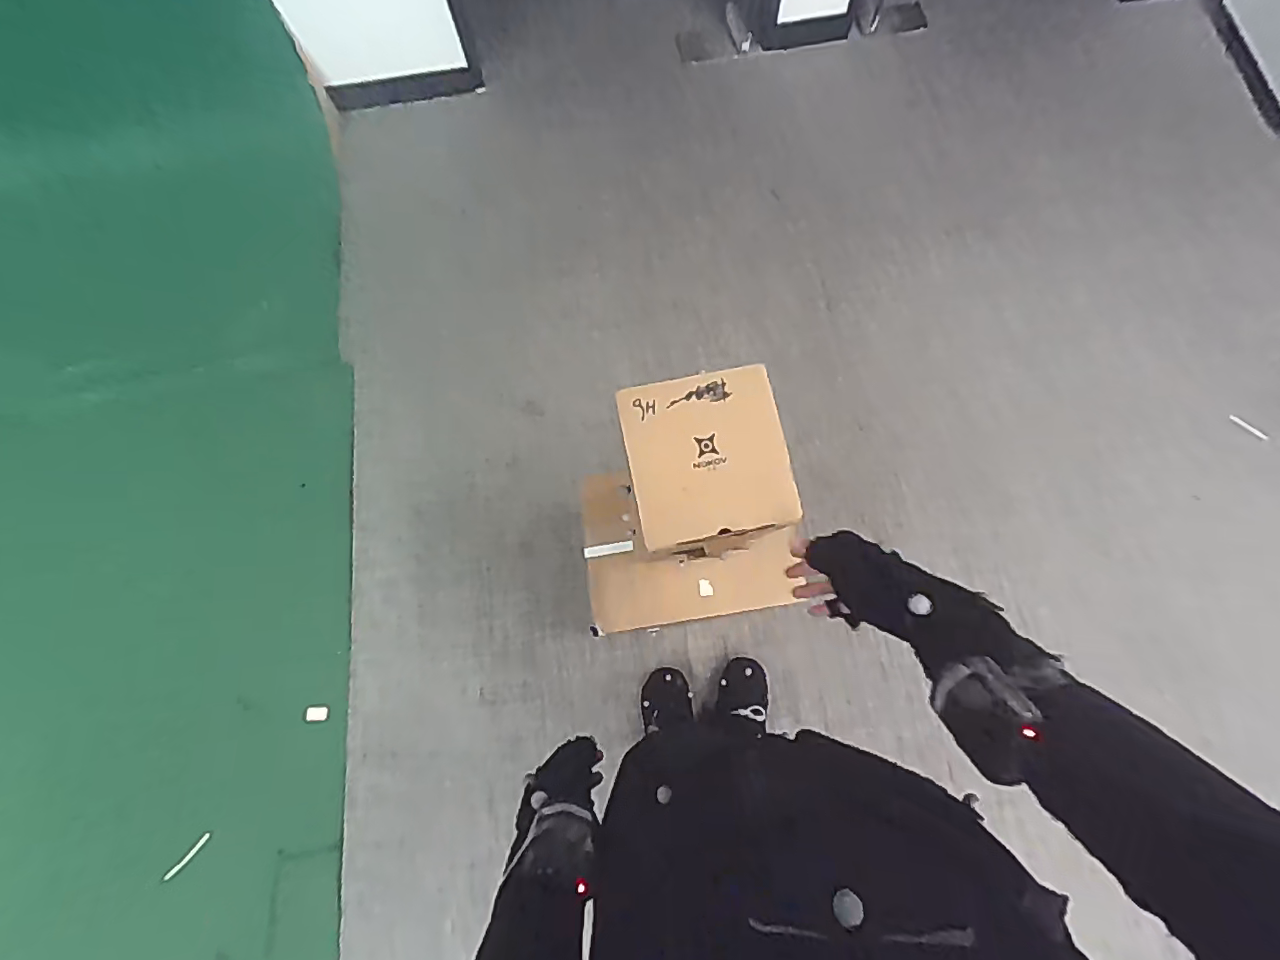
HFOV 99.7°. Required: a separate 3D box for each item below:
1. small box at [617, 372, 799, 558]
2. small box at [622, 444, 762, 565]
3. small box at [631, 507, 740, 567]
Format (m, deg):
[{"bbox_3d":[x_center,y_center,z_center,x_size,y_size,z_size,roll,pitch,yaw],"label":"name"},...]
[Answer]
[{"bbox_3d":[0.070,-0.006,0.646,0.168,0.176,0.179,-11,80,-2],"label":"small box"},{"bbox_3d":[0.070,0.030,0.806,0.168,0.176,0.179,-10,78,-2],"label":"small box"},{"bbox_3d":[0.073,0.065,0.961,0.179,0.176,0.168,-2,77,1],"label":"small box"}]
